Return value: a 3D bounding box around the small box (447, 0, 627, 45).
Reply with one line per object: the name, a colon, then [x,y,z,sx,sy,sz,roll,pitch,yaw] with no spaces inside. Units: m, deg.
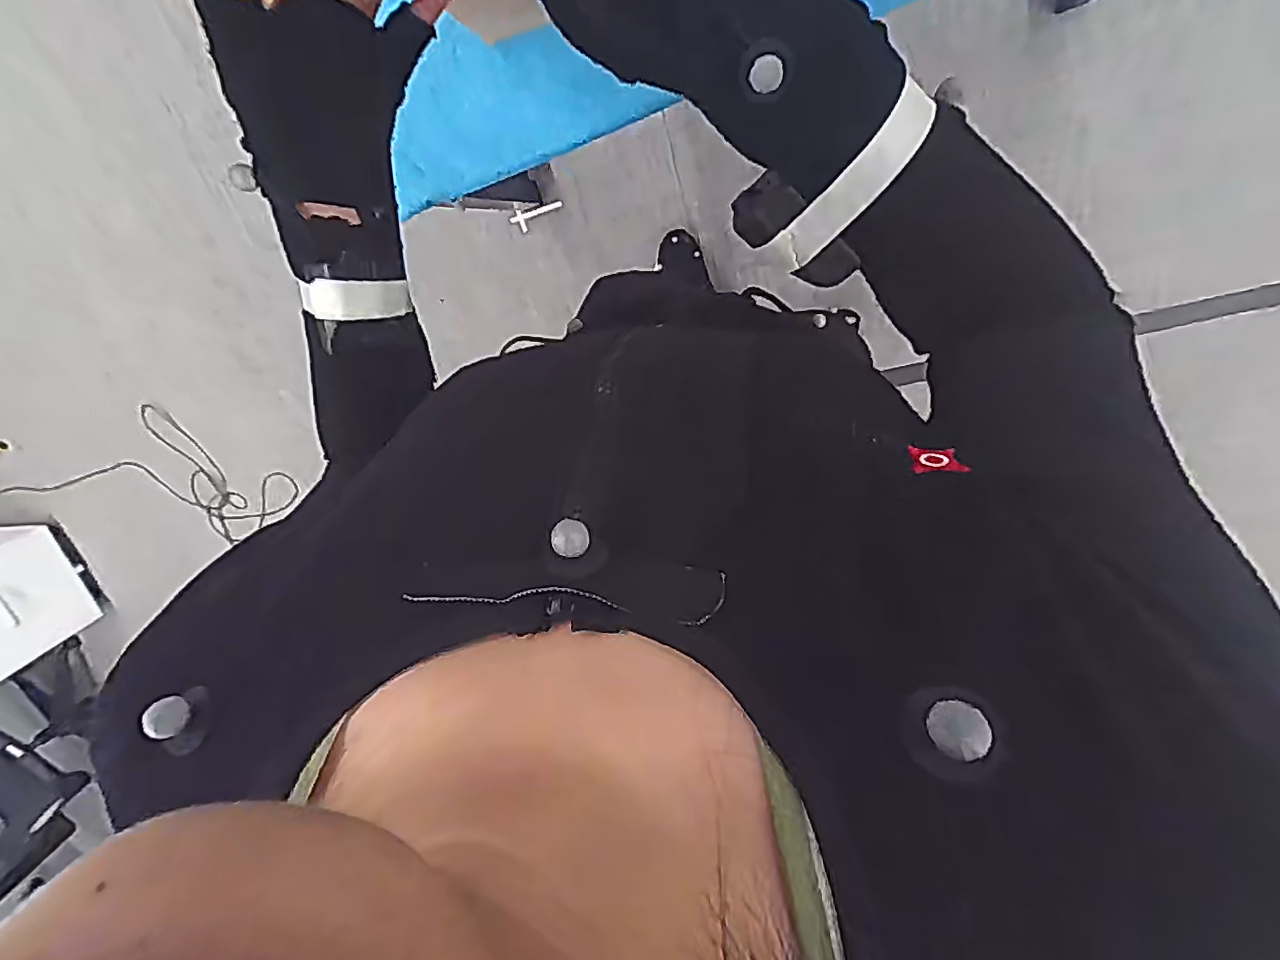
small box: [-0.106,-0.508,0.443,0.168,0.176,0.179,-8,114,12]
